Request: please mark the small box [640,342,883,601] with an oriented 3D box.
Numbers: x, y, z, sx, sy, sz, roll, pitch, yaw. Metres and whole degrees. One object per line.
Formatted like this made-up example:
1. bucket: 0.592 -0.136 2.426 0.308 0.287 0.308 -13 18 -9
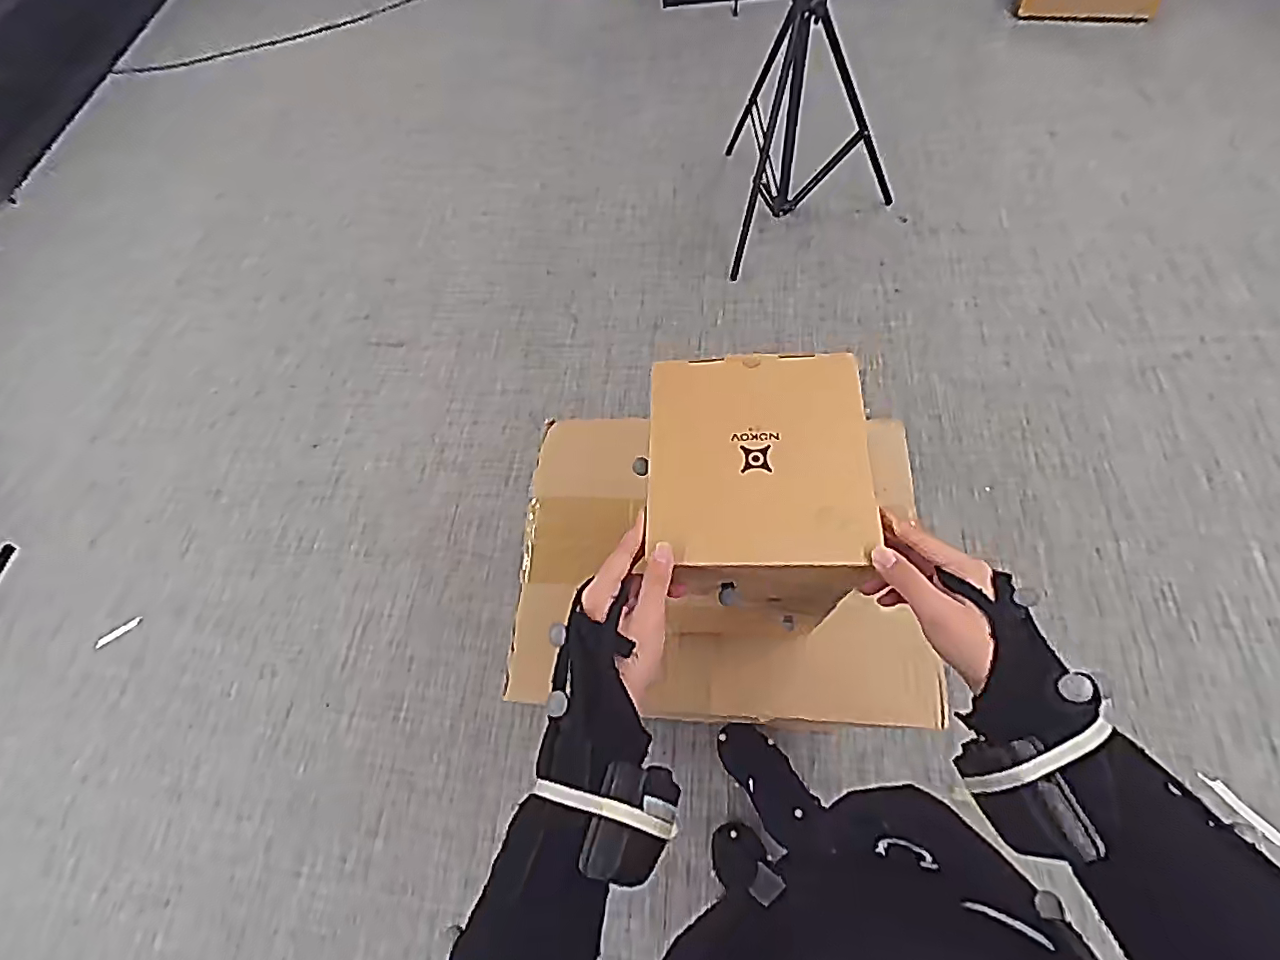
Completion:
1. small box: 0.095 0.005 0.471 0.168 0.176 0.179 -1 66 8
